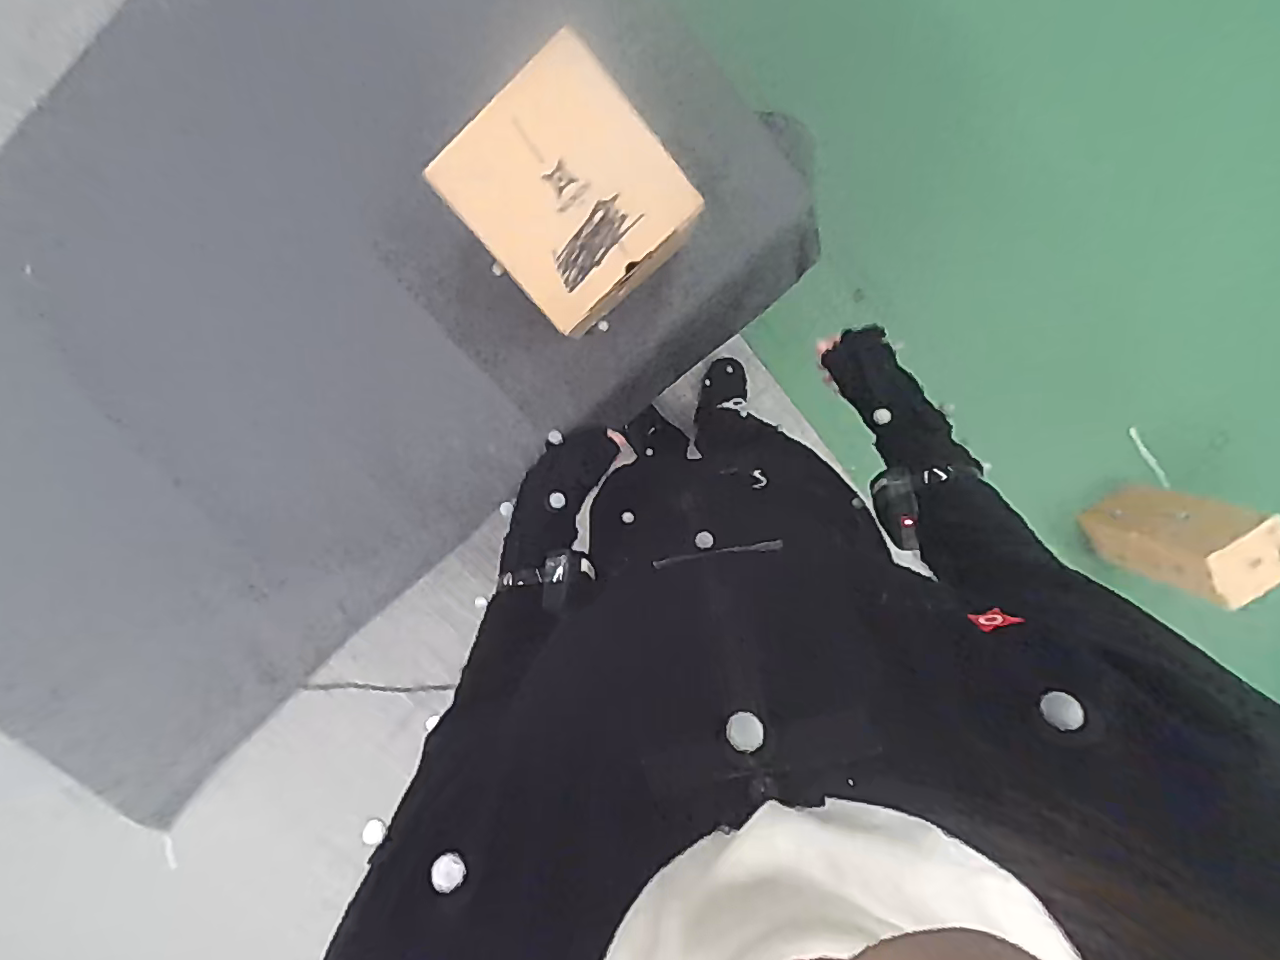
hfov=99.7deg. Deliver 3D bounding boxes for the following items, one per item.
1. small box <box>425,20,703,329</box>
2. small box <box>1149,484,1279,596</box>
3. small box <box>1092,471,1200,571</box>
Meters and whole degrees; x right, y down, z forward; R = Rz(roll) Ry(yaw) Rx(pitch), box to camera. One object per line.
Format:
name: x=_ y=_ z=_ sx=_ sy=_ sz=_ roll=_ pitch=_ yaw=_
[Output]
small box: x=-0.063 y=-0.267 z=0.527 sx=0.168 sy=0.176 sz=0.179 roll=-41 pitch=101 yaw=8
small box: x=1.367 y=0.137 z=1.286 sx=0.179 sy=0.176 sz=0.168 roll=-36 pitch=104 yaw=7
small box: x=1.350 y=0.103 z=1.427 sx=0.179 sy=0.176 sz=0.168 roll=-35 pitch=106 yaw=6
